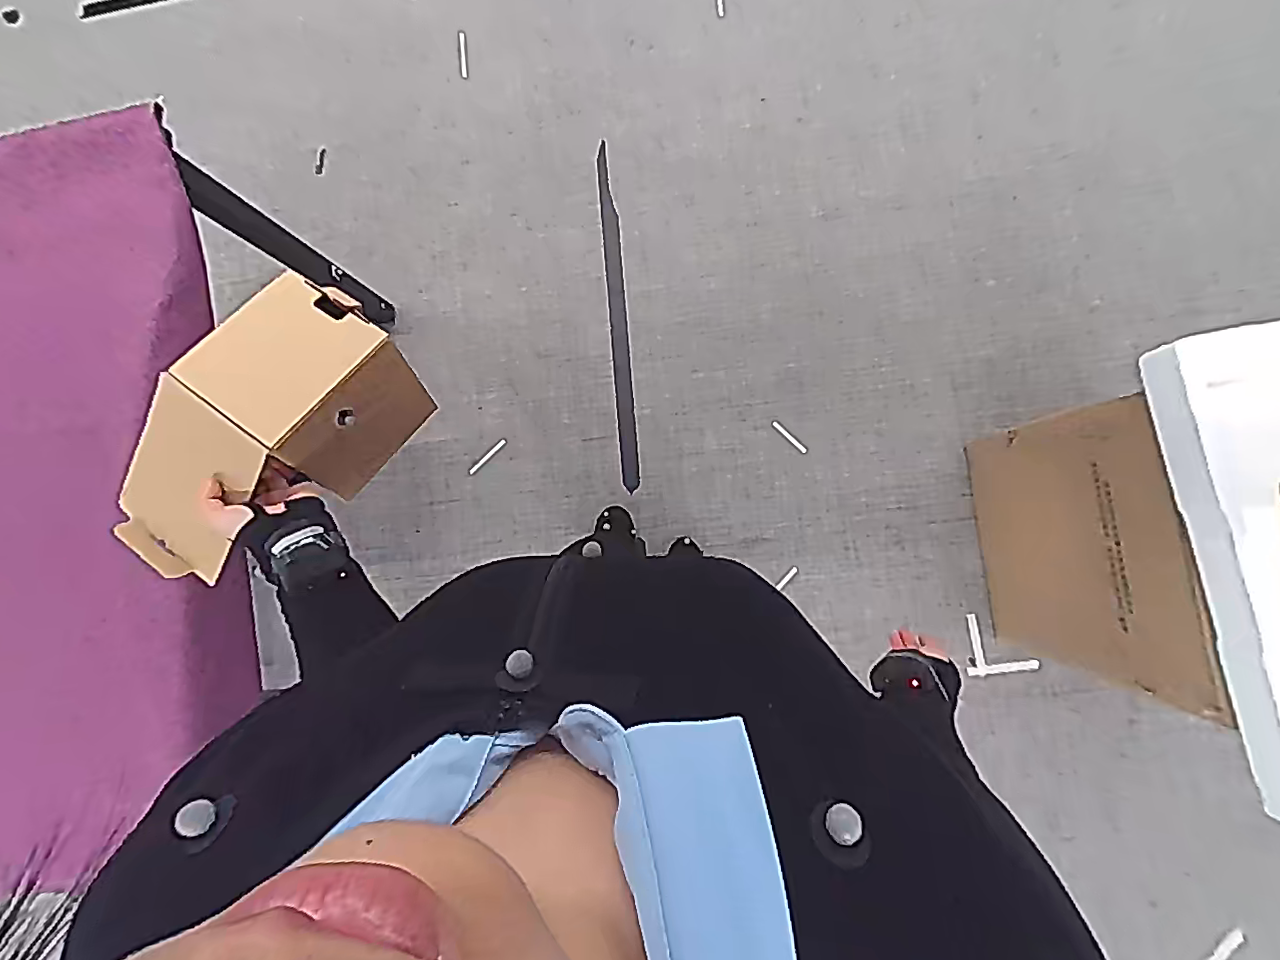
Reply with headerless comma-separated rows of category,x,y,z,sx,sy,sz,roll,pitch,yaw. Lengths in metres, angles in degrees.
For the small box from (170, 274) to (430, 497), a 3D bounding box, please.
small box,-0.396,-0.106,0.668,0.168,0.176,0.179,33,71,11
